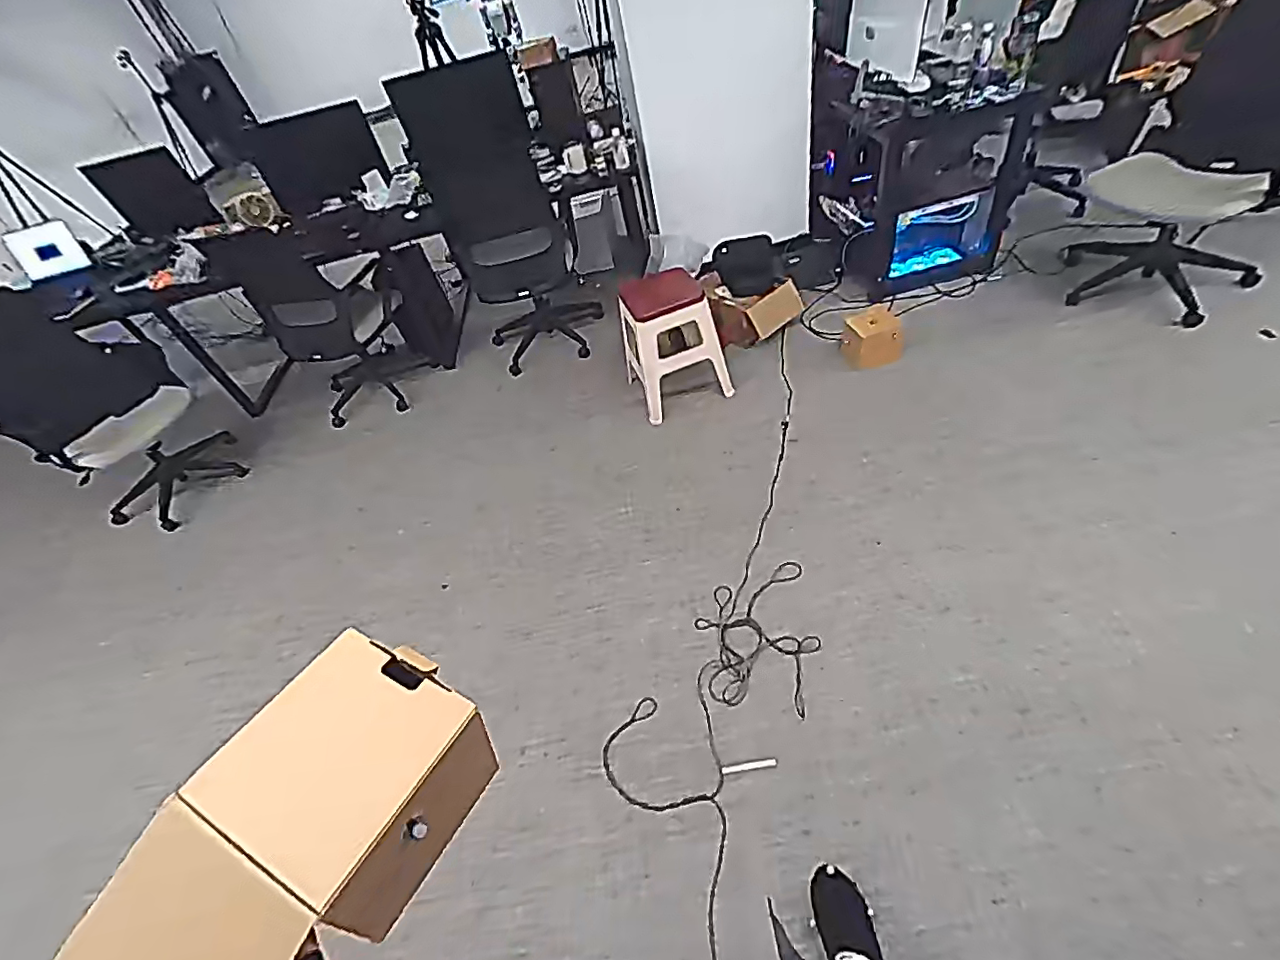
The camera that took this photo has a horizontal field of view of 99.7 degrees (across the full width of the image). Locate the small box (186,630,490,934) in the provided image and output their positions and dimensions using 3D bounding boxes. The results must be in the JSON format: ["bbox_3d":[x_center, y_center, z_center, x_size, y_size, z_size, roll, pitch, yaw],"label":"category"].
[{"bbox_3d":[-0.265,0.290,0.524,0.168,0.176,0.179,22,45,18],"label":"small box"}]
